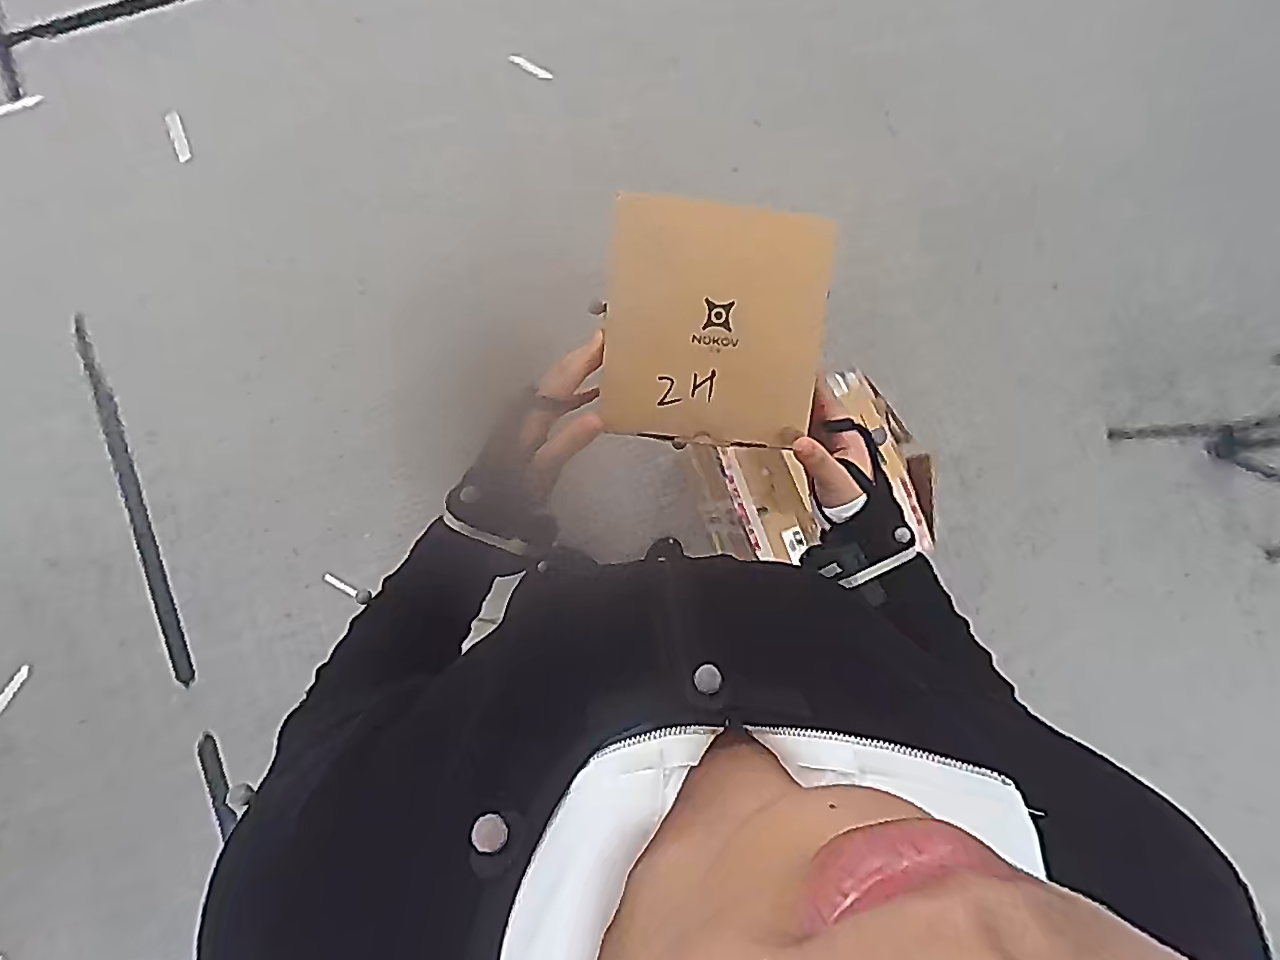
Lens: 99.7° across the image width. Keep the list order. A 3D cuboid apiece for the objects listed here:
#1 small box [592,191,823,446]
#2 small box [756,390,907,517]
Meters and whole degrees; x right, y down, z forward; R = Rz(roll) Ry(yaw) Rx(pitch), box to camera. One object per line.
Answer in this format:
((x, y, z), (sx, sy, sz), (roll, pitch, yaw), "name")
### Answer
((0.044, -0.129, 0.485), (0.168, 0.176, 0.179), (4, 99, -5), "small box")
((0.330, -0.040, 0.964), (0.179, 0.176, 0.168), (-22, 85, -1), "small box")
